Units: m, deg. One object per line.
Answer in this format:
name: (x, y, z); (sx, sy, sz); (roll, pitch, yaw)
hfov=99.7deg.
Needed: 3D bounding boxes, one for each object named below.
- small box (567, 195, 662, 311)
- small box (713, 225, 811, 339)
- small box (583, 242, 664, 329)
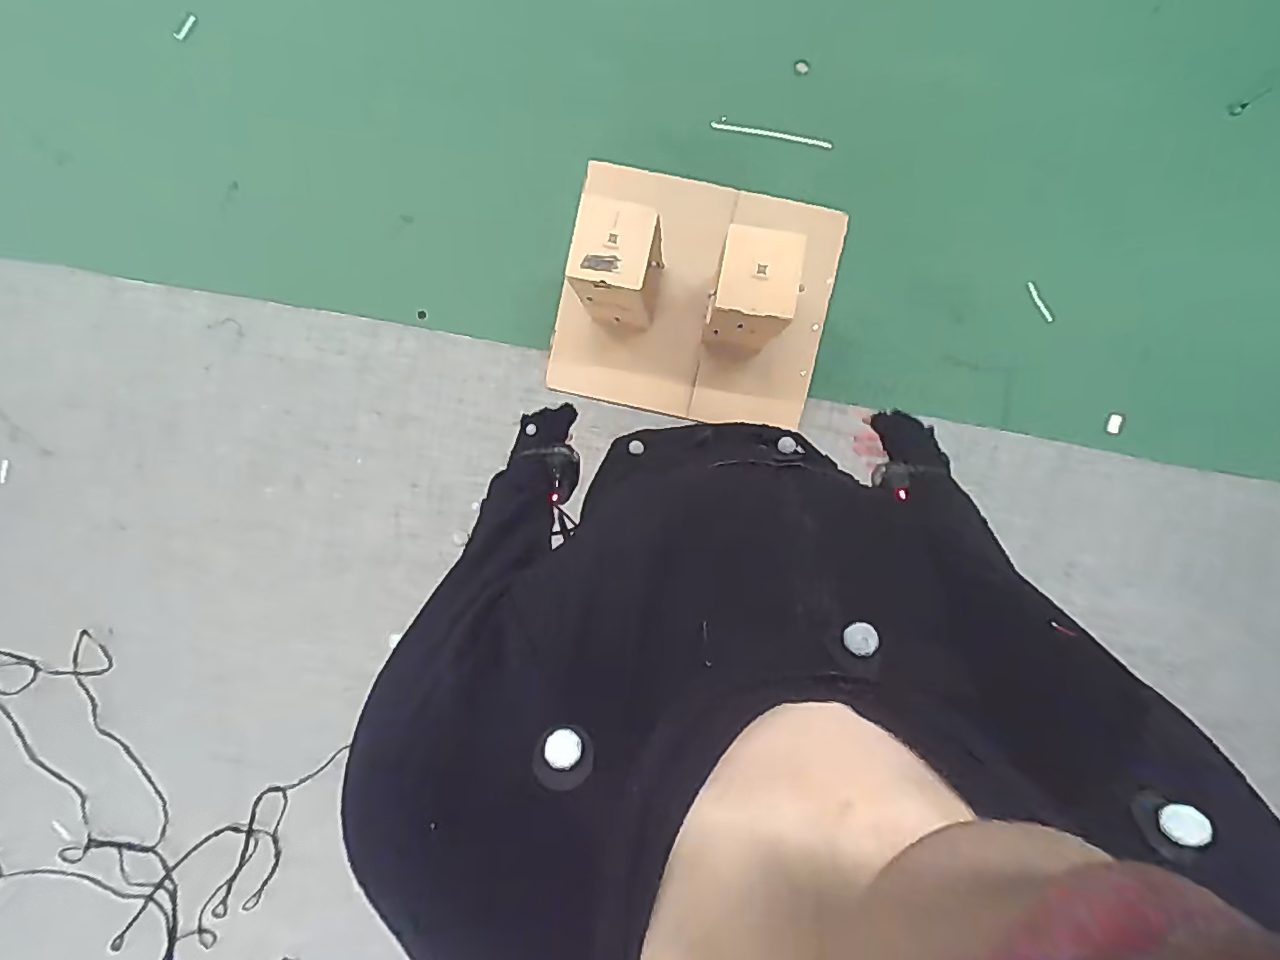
small box: (-0.047, -0.487, 1.188); (0.168, 0.176, 0.179); (13, 93, 3)
small box: (0.257, -0.423, 1.178); (0.168, 0.176, 0.179); (10, 93, 3)
small box: (-0.035, -0.494, 1.351); (0.168, 0.176, 0.179); (12, 94, 4)
